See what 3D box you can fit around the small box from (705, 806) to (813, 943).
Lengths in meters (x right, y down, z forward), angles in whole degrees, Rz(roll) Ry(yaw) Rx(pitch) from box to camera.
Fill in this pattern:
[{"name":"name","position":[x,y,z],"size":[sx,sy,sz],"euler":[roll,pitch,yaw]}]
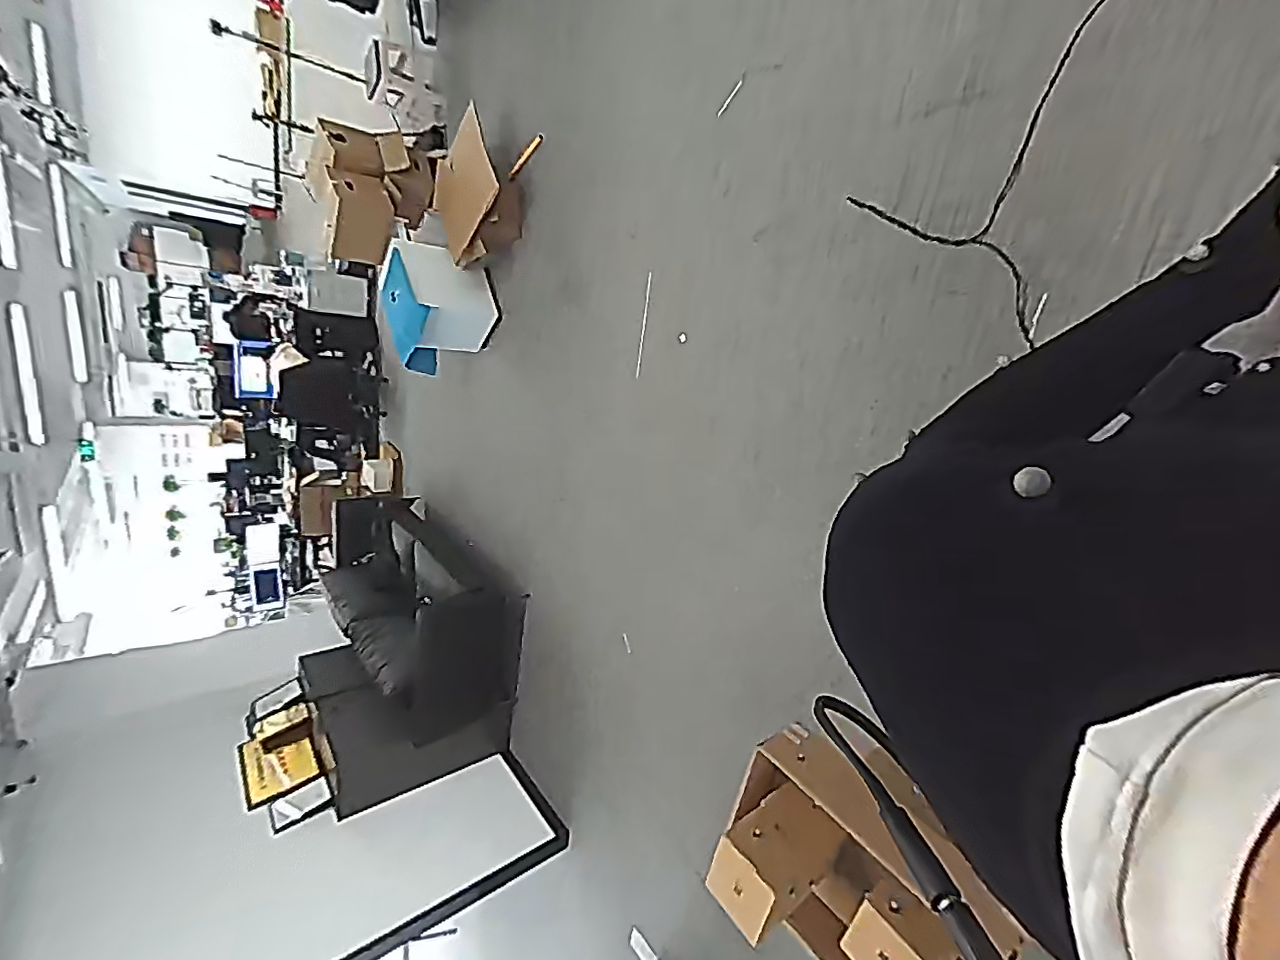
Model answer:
[{"name":"small box","position":[0.289,0.937,1.303],"size":[0.168,0.176,0.179],"euler":[32,117,45]}]
